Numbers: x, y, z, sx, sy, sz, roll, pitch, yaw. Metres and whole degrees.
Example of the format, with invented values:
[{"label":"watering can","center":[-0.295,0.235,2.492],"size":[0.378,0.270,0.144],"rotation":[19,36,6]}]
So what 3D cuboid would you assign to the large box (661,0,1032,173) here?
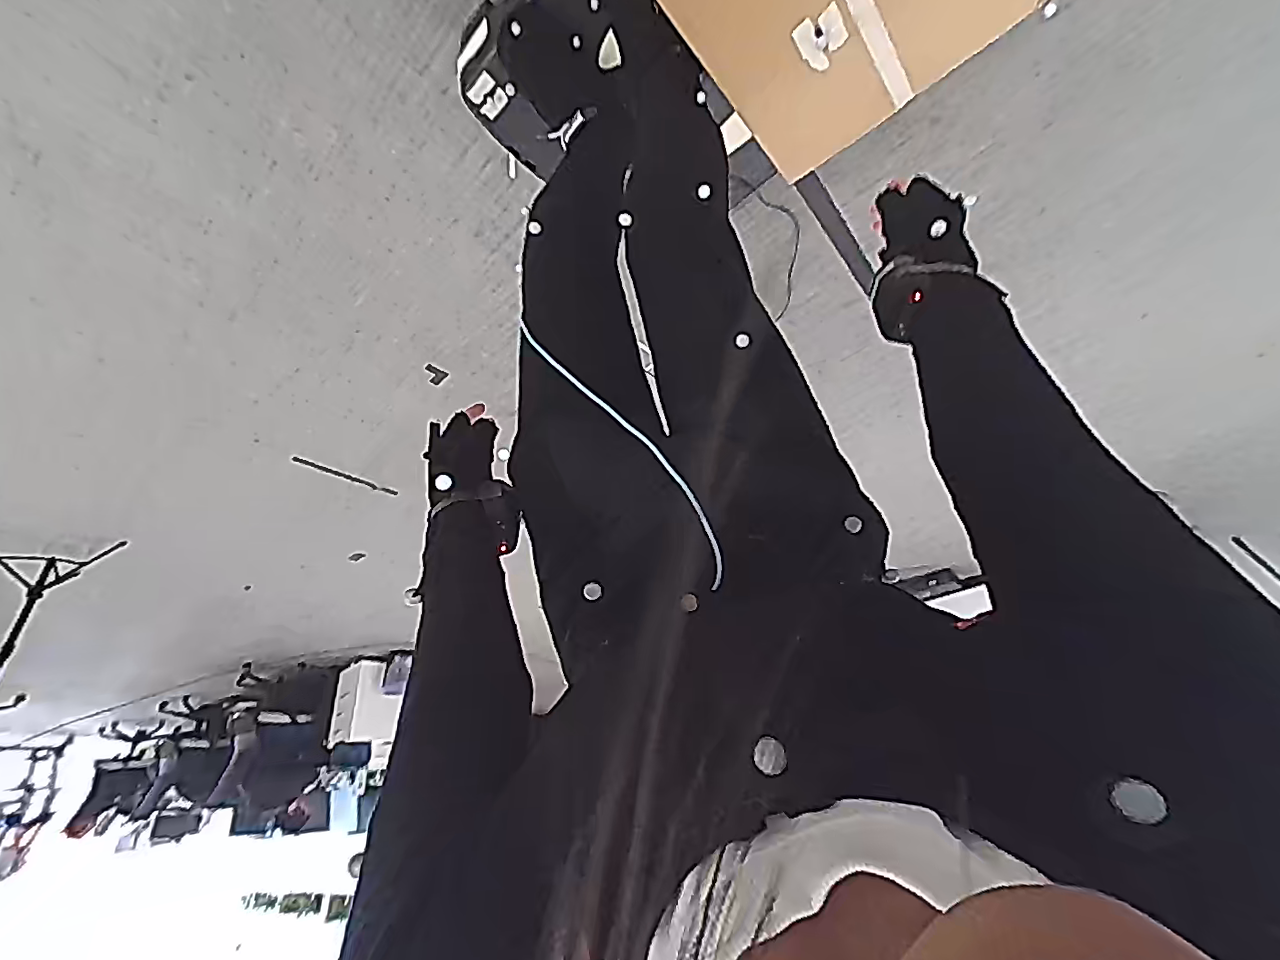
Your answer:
[{"label":"large box","center":[0.182,-0.662,0.589],"size":[0.320,0.320,0.408],"rotation":[-22,148,37]}]
